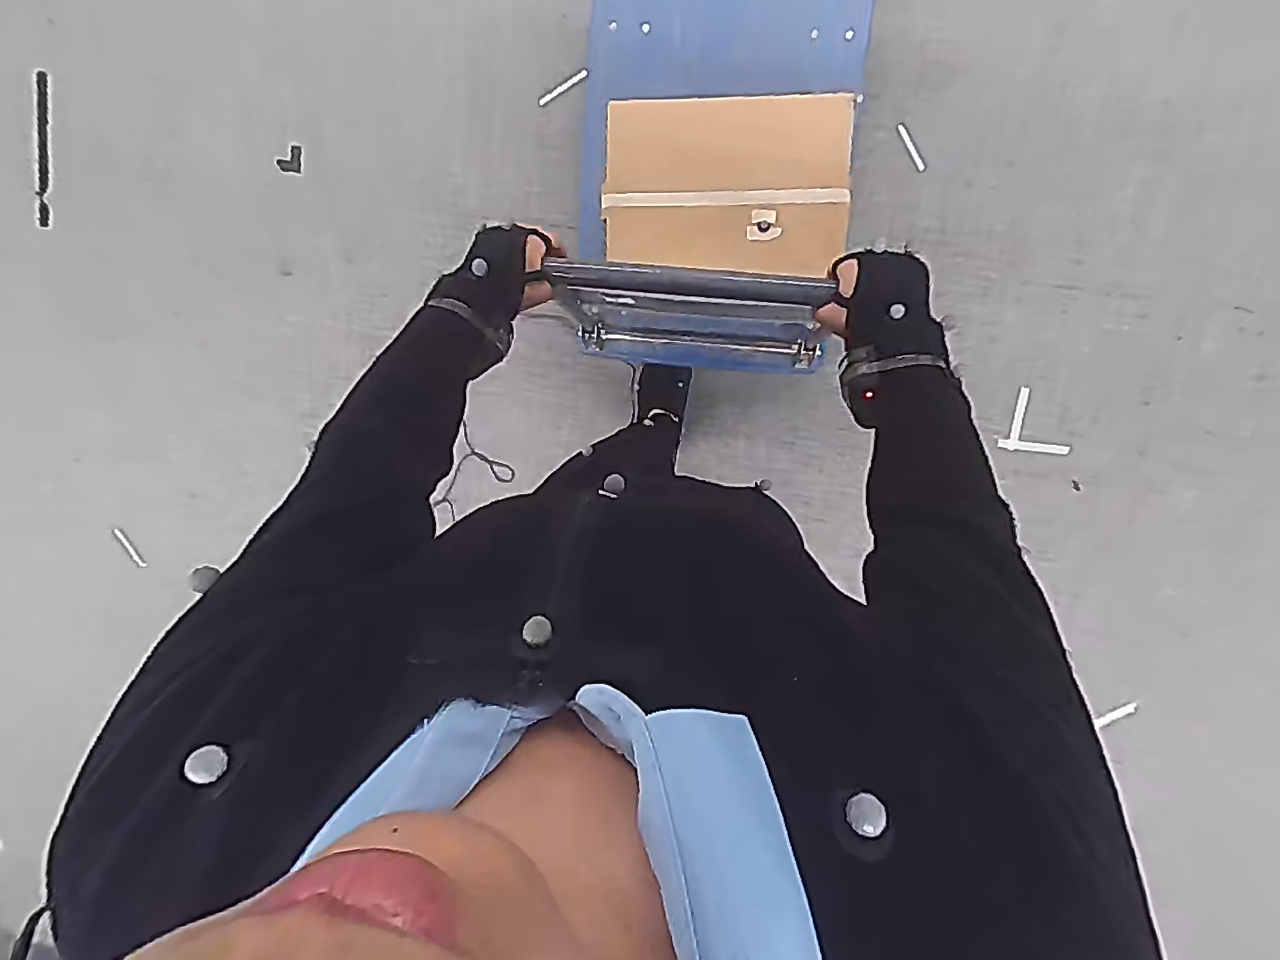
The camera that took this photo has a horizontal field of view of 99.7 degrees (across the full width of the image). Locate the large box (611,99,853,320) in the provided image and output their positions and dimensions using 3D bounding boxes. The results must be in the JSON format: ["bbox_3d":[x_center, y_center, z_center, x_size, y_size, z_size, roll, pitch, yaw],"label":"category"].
[{"bbox_3d":[0.160,-0.497,1.066,0.408,0.320,0.320,1,100,5],"label":"large box"}]
